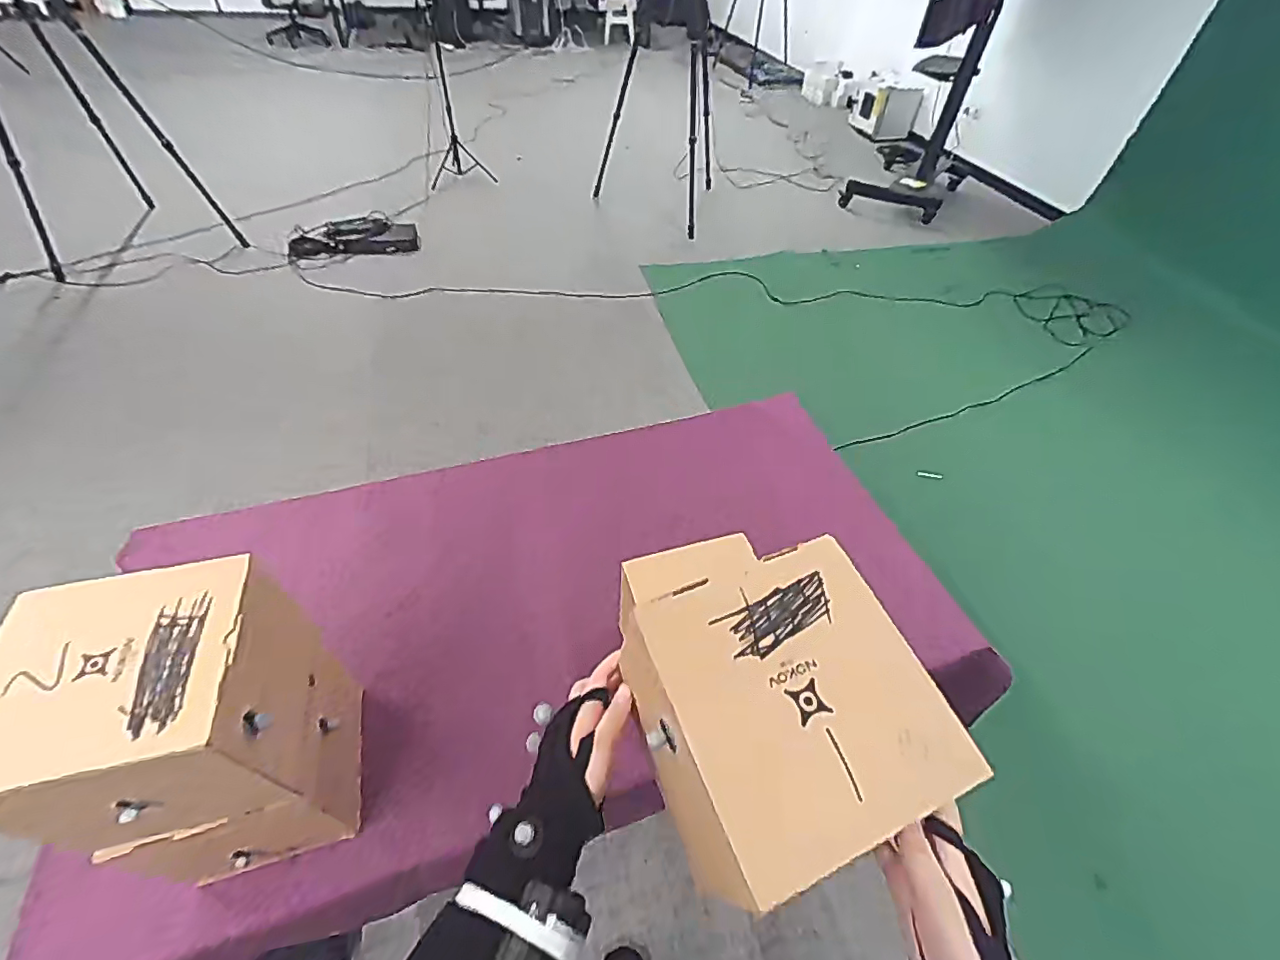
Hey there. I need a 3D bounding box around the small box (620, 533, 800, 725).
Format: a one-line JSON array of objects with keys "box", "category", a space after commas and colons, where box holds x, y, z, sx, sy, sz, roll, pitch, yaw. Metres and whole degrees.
[{"box": [0.078, 0.200, 0.716, 0.179, 0.176, 0.168, -12, 51, -14], "category": "small box"}]

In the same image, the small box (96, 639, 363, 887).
[{"box": [-0.416, 0.307, 0.589, 0.168, 0.176, 0.179, -12, 51, -15], "category": "small box"}]
